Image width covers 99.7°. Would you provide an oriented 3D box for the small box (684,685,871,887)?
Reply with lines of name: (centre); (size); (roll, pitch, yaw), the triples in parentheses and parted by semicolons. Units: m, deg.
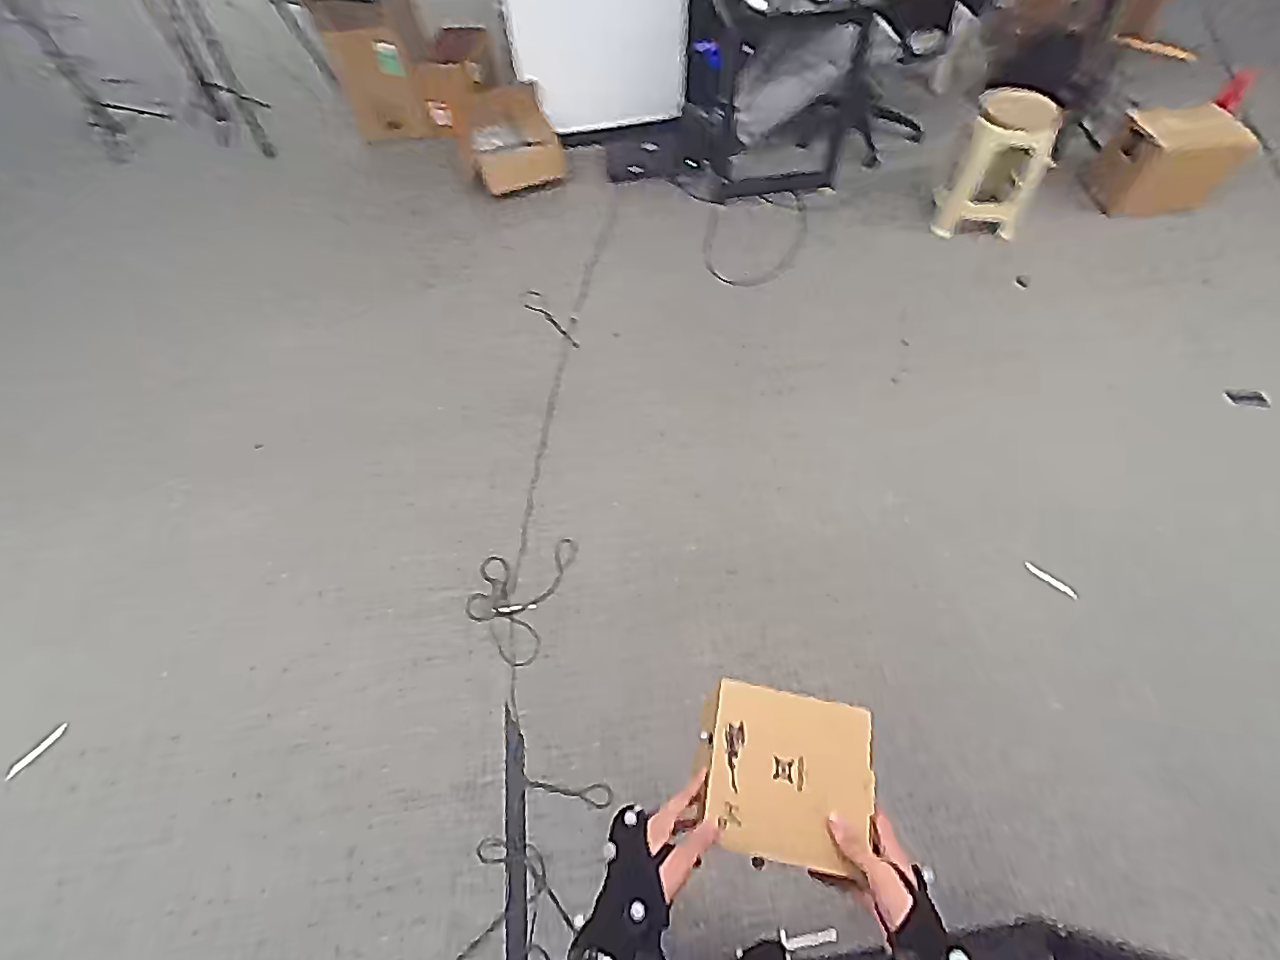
small box: (0.157, 0.359, 0.649); (0.179, 0.176, 0.168); (10, 60, 4)
